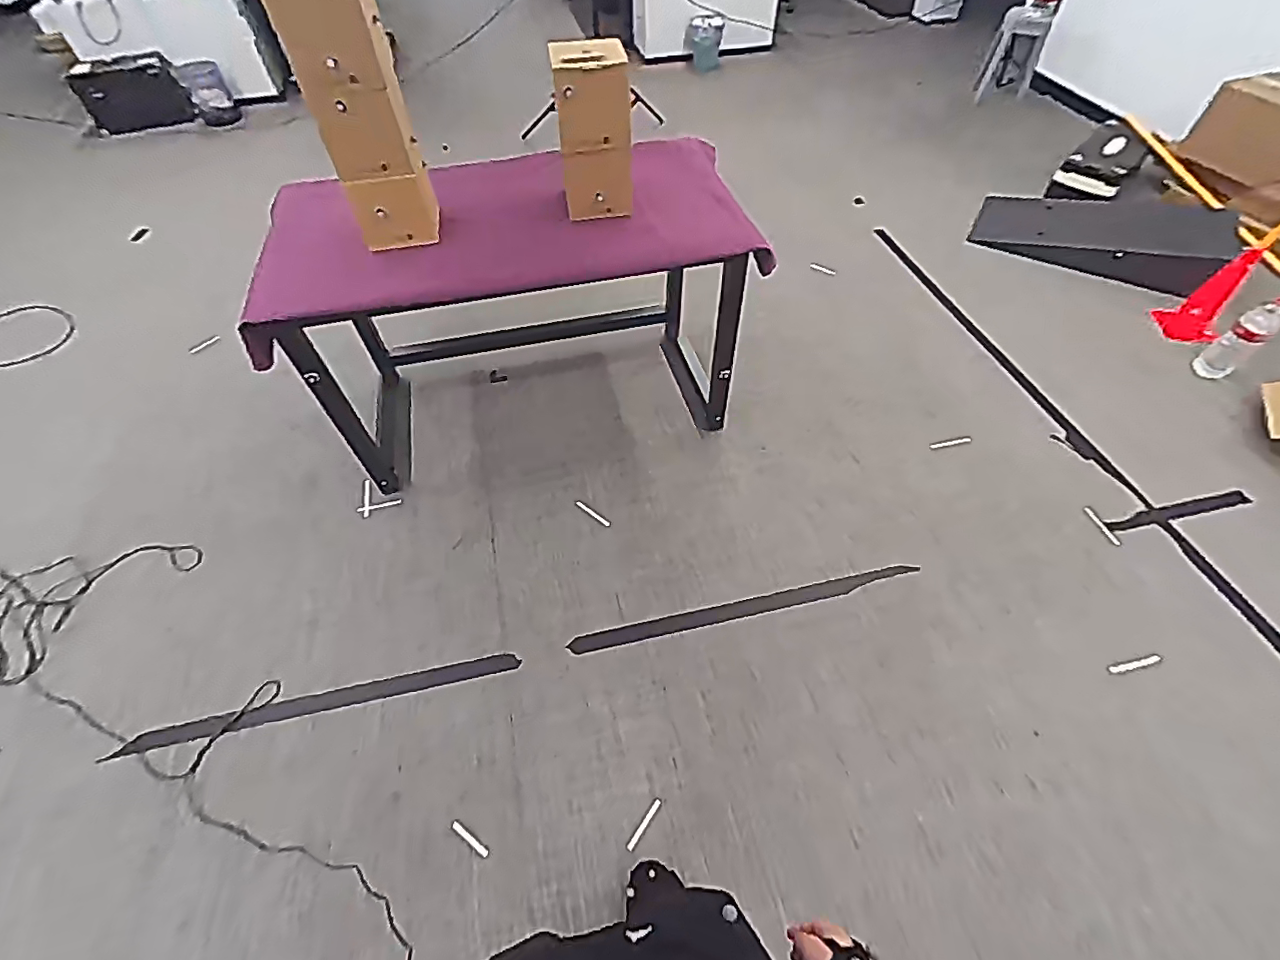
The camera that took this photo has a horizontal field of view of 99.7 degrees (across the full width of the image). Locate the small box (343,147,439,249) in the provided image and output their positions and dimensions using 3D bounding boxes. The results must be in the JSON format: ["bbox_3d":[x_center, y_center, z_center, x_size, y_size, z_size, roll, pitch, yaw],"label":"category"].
[{"bbox_3d":[-0.601,-0.686,1.327,0.168,0.176,0.179,-11,54,-7],"label":"small box"}]

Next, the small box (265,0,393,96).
[{"bbox_3d":[-0.603,-0.885,1.065,0.168,0.176,0.179,-10,55,-7],"label":"small box"}]

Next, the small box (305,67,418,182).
[{"bbox_3d":[-0.605,-0.788,1.199,0.168,0.176,0.179,-11,53,-7],"label":"small box"}]

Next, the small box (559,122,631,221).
[{"bbox_3d":[-0.115,-0.796,1.398,0.168,0.176,0.179,-7,54,-3],"label":"small box"}]
